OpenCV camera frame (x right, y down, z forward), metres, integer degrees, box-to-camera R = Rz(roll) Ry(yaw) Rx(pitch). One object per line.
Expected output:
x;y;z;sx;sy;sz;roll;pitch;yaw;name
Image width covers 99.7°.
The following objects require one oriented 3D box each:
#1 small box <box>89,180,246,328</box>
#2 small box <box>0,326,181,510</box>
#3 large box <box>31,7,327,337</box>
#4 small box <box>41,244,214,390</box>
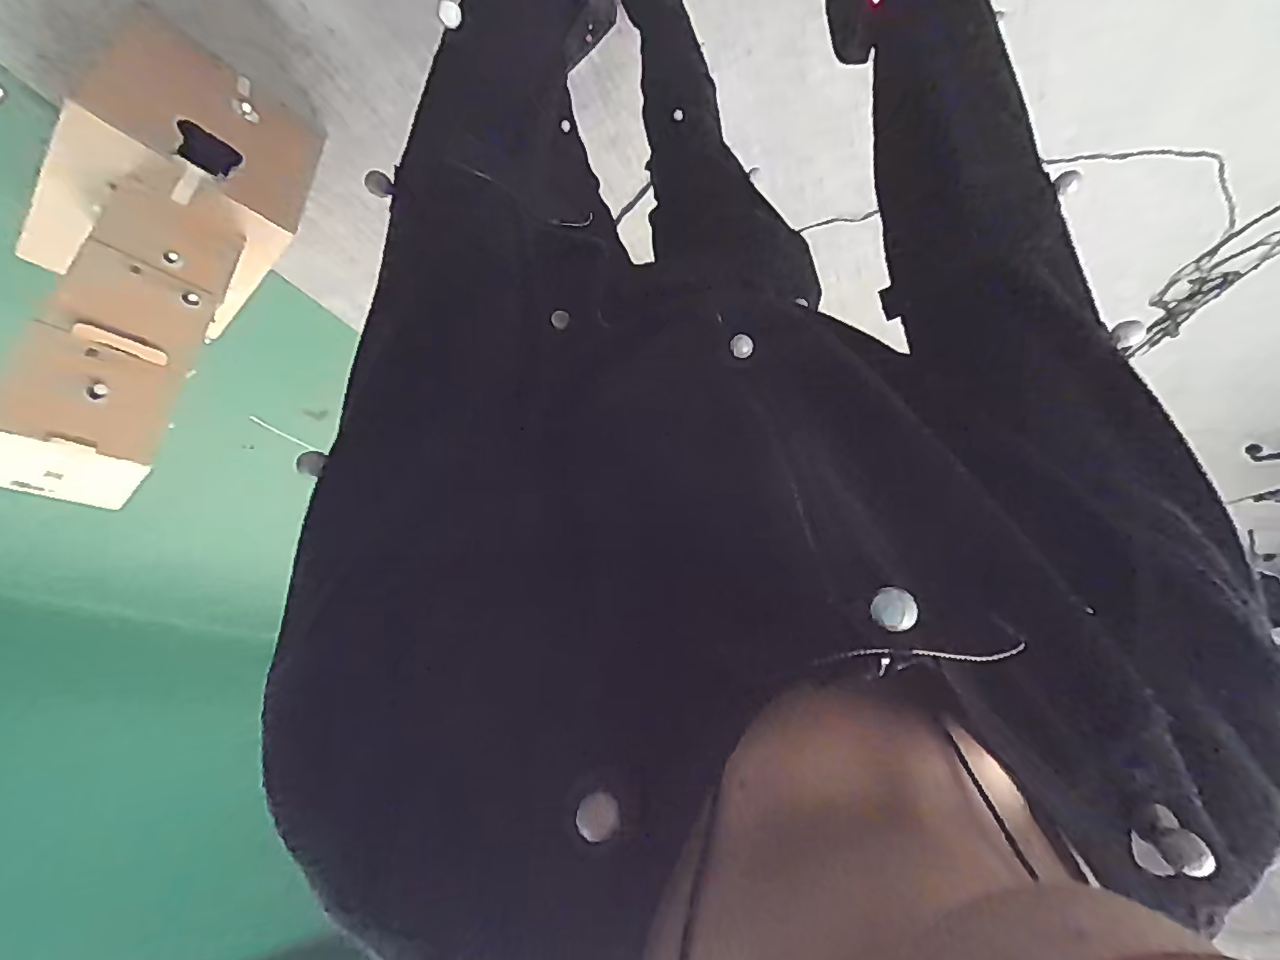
-0.822;-0.367;0.932;0.168;0.176;0.179;-25;146;30;small box
-0.796;-0.083;0.769;0.179;0.176;0.168;-26;145;30;small box
-0.884;-0.568;1.063;0.408;0.320;0.320;-24;145;32;large box
-0.807;-0.227;0.849;0.179;0.176;0.168;-25;146;32;small box
